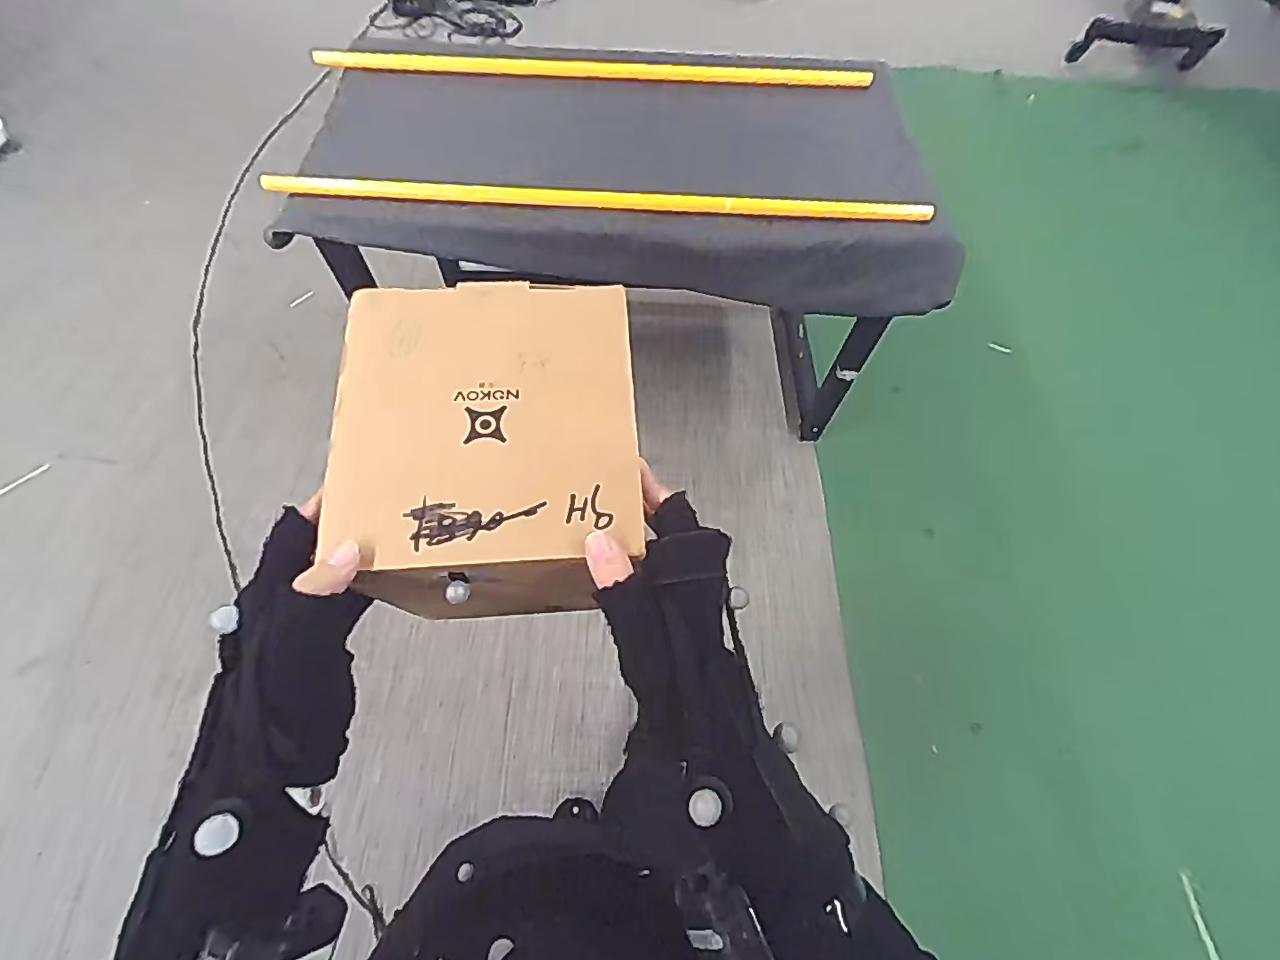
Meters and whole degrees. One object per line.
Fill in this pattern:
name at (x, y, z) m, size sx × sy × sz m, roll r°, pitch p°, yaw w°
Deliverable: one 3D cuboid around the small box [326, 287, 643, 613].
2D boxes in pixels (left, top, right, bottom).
small box at (-0.089, -0.012, 0.387) m, size 0.168 × 0.176 × 0.179 m, roll -3°, pitch 67°, yaw -4°
